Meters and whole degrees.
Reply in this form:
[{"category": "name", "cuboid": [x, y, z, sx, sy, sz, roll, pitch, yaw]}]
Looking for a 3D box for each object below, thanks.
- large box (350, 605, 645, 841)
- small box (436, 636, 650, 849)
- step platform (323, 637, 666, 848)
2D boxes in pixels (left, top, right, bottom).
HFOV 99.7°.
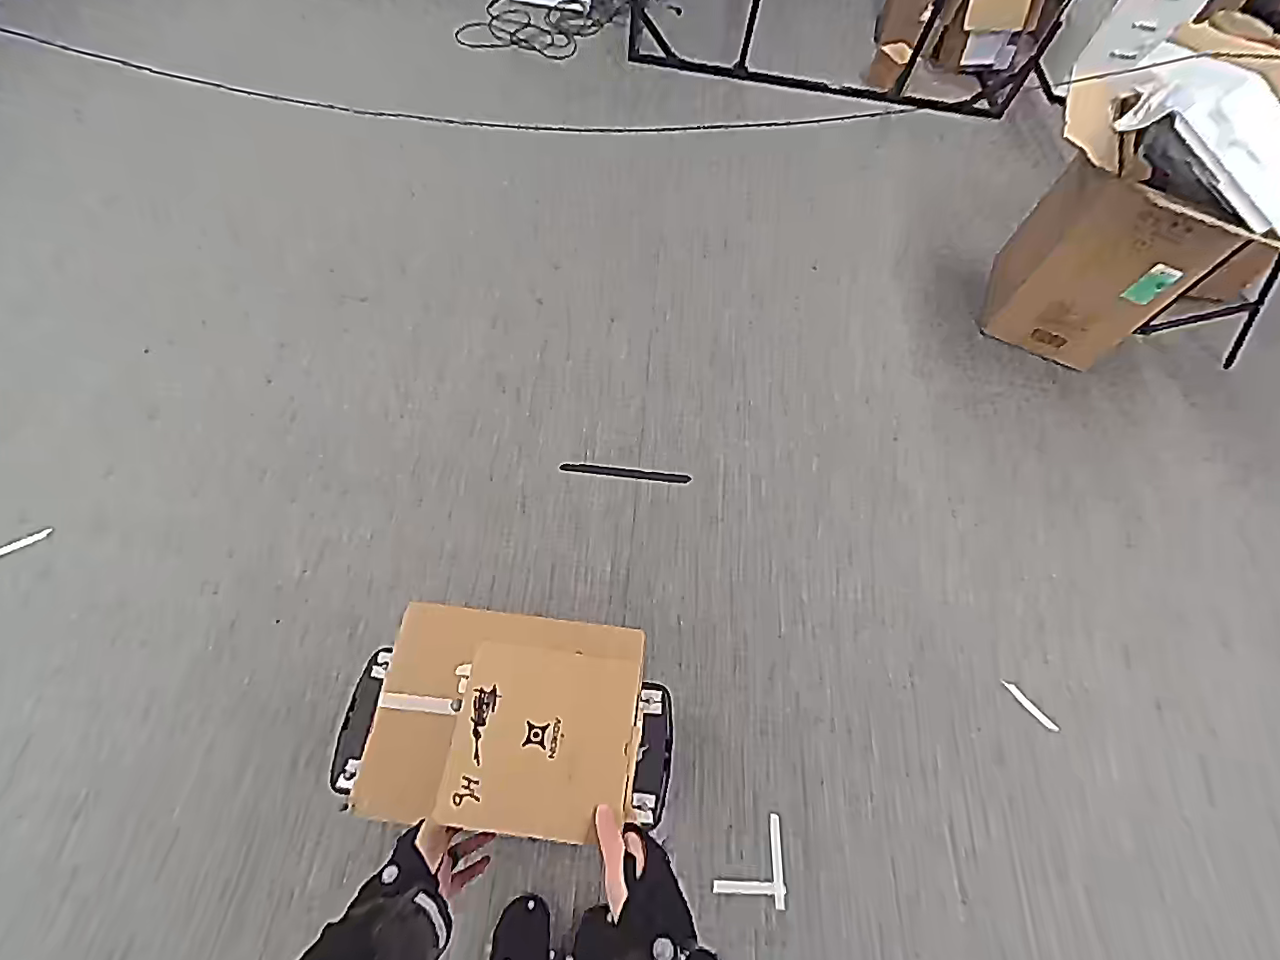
[{"category": "large box", "cuboid": [-0.209, 0.432, 0.965, 0.408, 0.320, 0.320, 7, 60, -1]}, {"category": "small box", "cuboid": [-0.094, 0.280, 0.588, 0.179, 0.176, 0.168, 10, 62, -2]}, {"category": "step platform", "cuboid": [-0.287, 0.554, 1.163, 0.684, 0.204, 0.286, 12, 61, 1]}]
